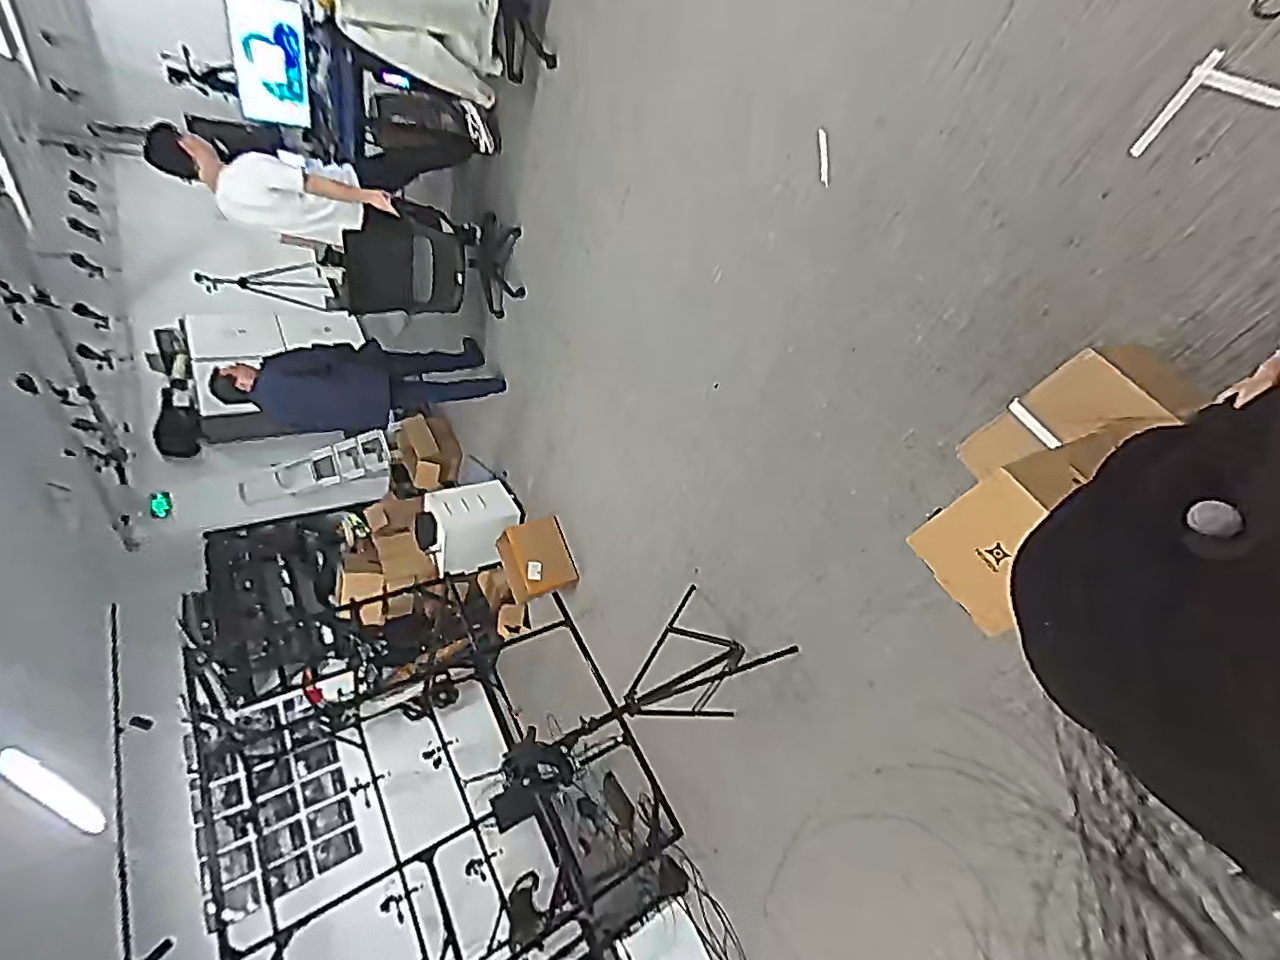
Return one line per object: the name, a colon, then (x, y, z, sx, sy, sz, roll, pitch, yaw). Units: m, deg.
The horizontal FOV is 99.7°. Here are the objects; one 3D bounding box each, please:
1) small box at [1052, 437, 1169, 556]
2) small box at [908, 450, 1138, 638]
small box: (0.649, 0.052, 0.826, 0.168, 0.176, 0.179, 59, 141, 24)
small box: (0.518, 0.080, 0.733, 0.168, 0.176, 0.179, 57, 142, 25)
